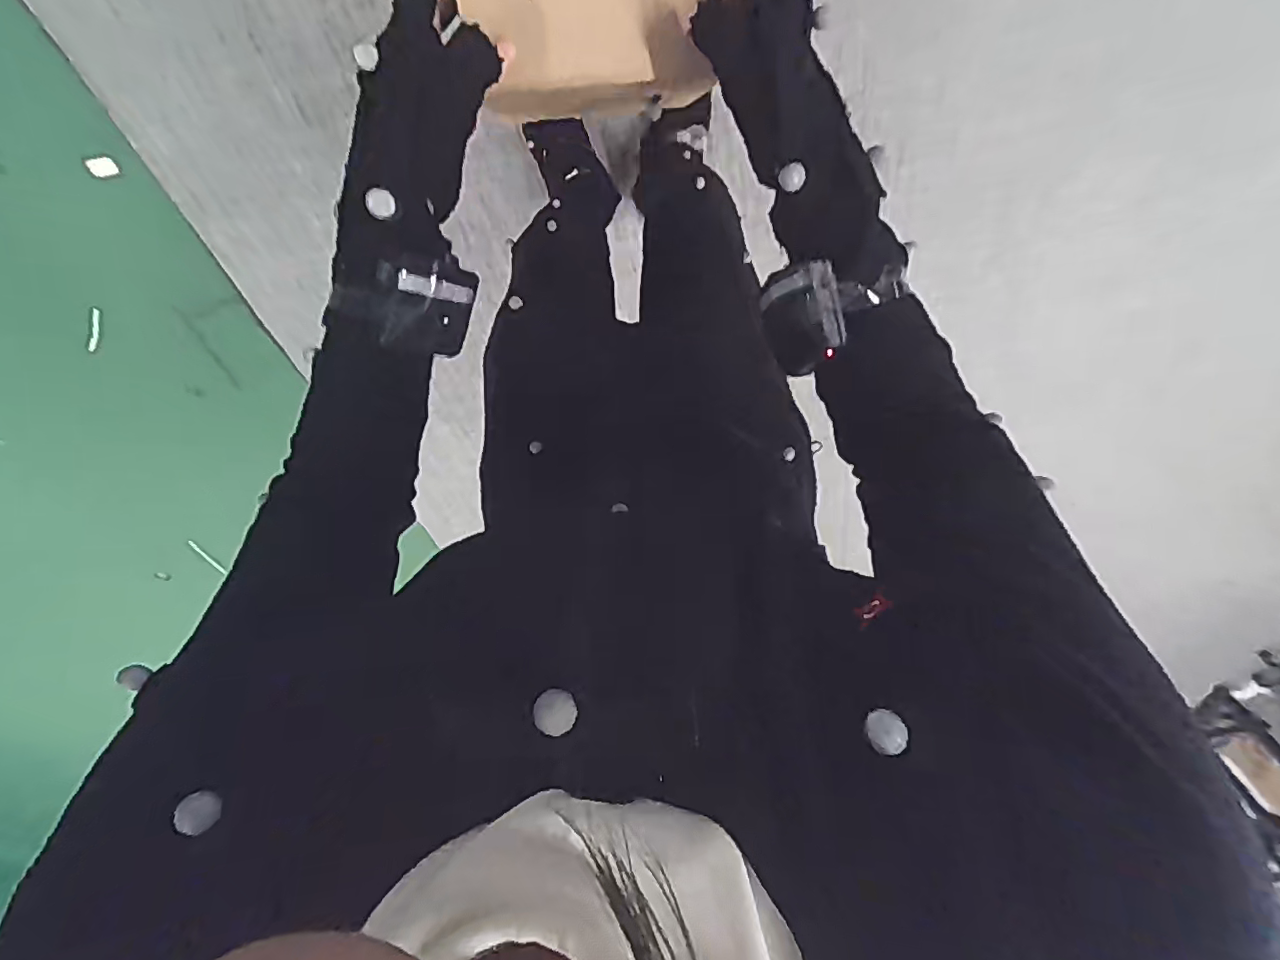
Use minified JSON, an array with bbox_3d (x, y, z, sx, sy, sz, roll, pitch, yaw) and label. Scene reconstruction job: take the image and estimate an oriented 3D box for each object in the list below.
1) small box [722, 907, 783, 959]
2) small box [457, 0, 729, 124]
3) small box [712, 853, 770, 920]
[{"bbox_3d":[0.379,1.572,1.823,0.179,0.176,0.168,-15,131,5],"label":"small box"},{"bbox_3d":[-0.041,-0.376,0.399,0.179,0.176,0.168,-8,117,-2],"label":"small box"},{"bbox_3d":[0.365,1.479,1.955,0.179,0.176,0.168,-15,133,4],"label":"small box"}]
